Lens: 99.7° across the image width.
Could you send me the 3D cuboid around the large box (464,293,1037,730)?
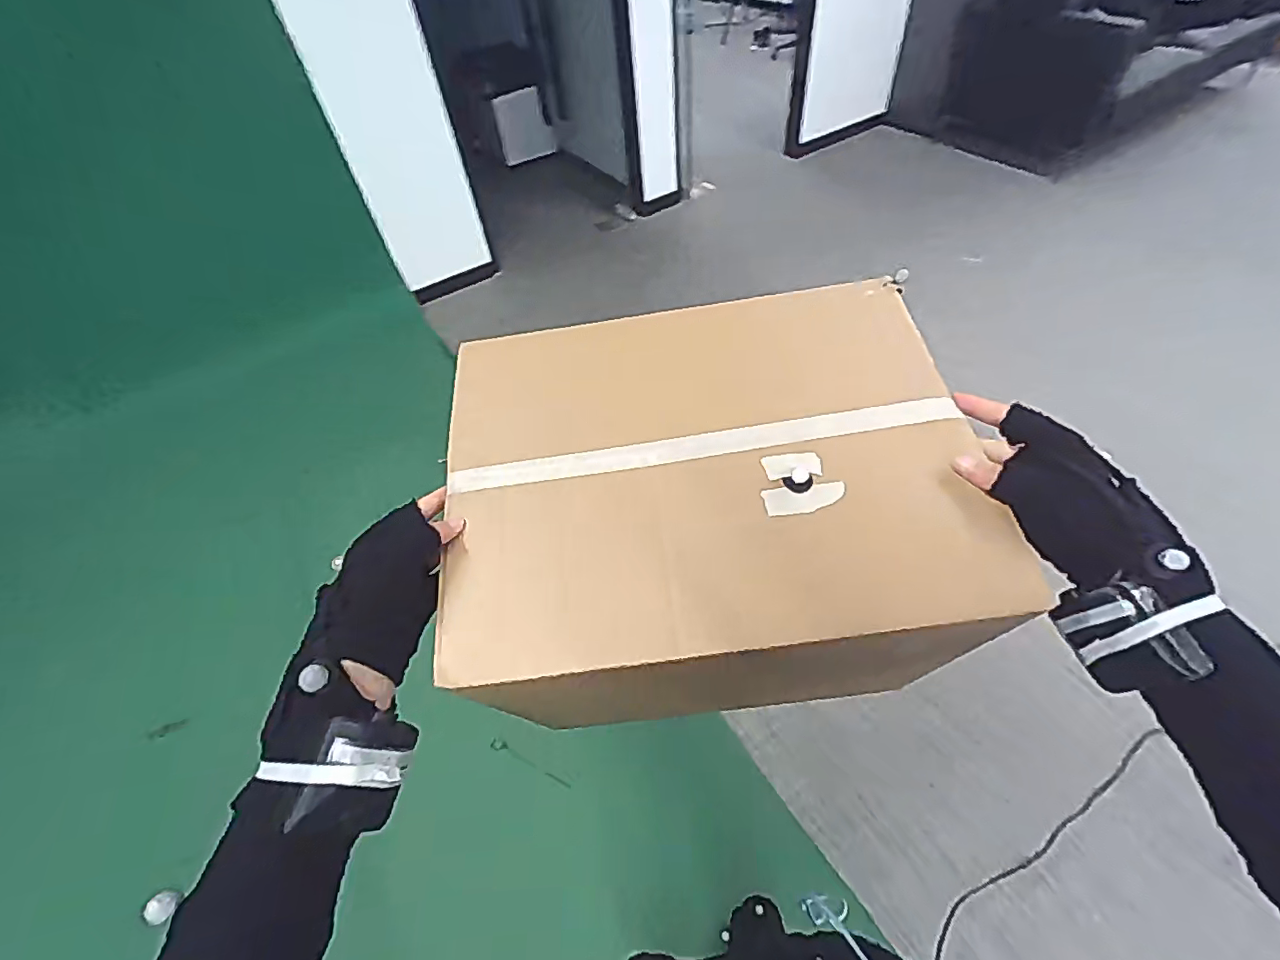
[{"bbox_3d":[0.071,0.057,0.570,0.408,0.320,0.320,-8,60,3],"label":"large box"}]
